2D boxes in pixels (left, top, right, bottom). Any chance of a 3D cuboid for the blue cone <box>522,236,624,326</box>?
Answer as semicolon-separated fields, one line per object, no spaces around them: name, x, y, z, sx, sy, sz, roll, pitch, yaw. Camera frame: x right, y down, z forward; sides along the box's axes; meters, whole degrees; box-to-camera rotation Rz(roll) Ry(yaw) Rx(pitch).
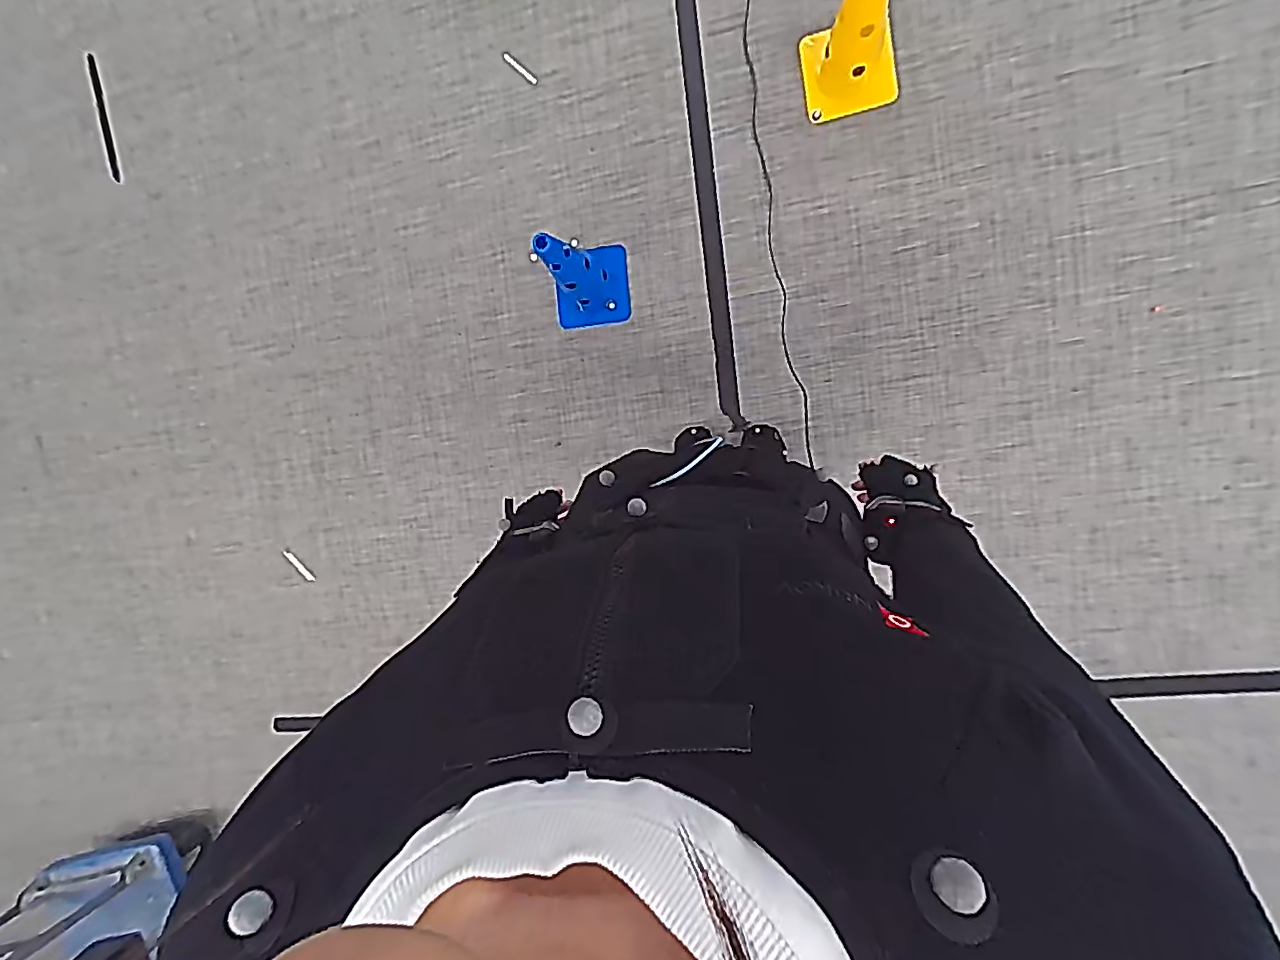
blue cone;-0.173;-0.498;1.275;0.192;0.380;0.193;-2;95;13
